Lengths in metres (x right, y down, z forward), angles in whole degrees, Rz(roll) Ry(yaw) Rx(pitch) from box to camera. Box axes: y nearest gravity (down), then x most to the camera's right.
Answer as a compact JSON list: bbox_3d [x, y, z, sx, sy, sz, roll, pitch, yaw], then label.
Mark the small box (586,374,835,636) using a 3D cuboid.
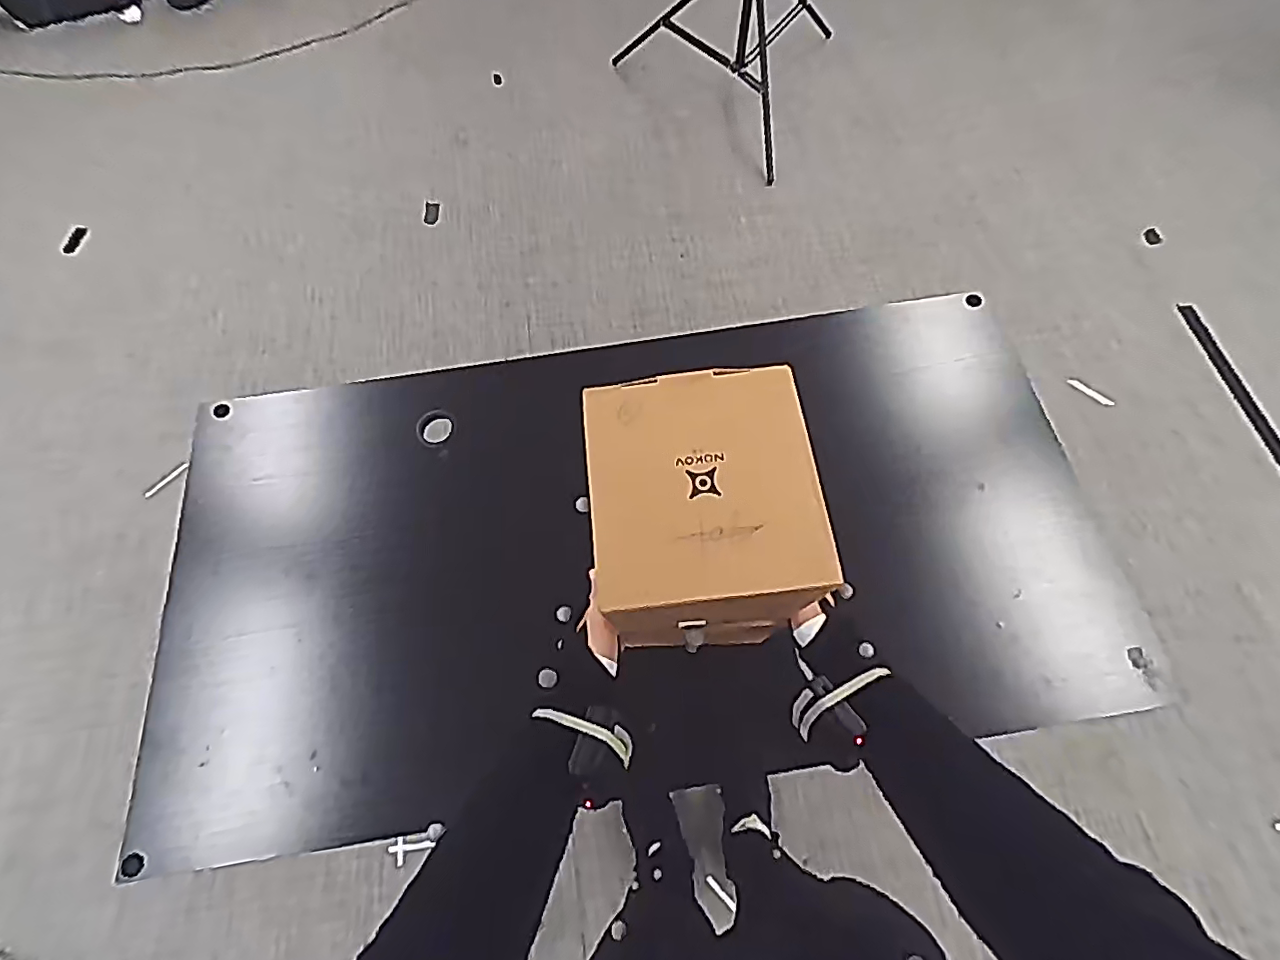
[{"bbox_3d":[0.048,0.032,0.474,0.168,0.176,0.179,-7,69,0],"label":"small box"}]
